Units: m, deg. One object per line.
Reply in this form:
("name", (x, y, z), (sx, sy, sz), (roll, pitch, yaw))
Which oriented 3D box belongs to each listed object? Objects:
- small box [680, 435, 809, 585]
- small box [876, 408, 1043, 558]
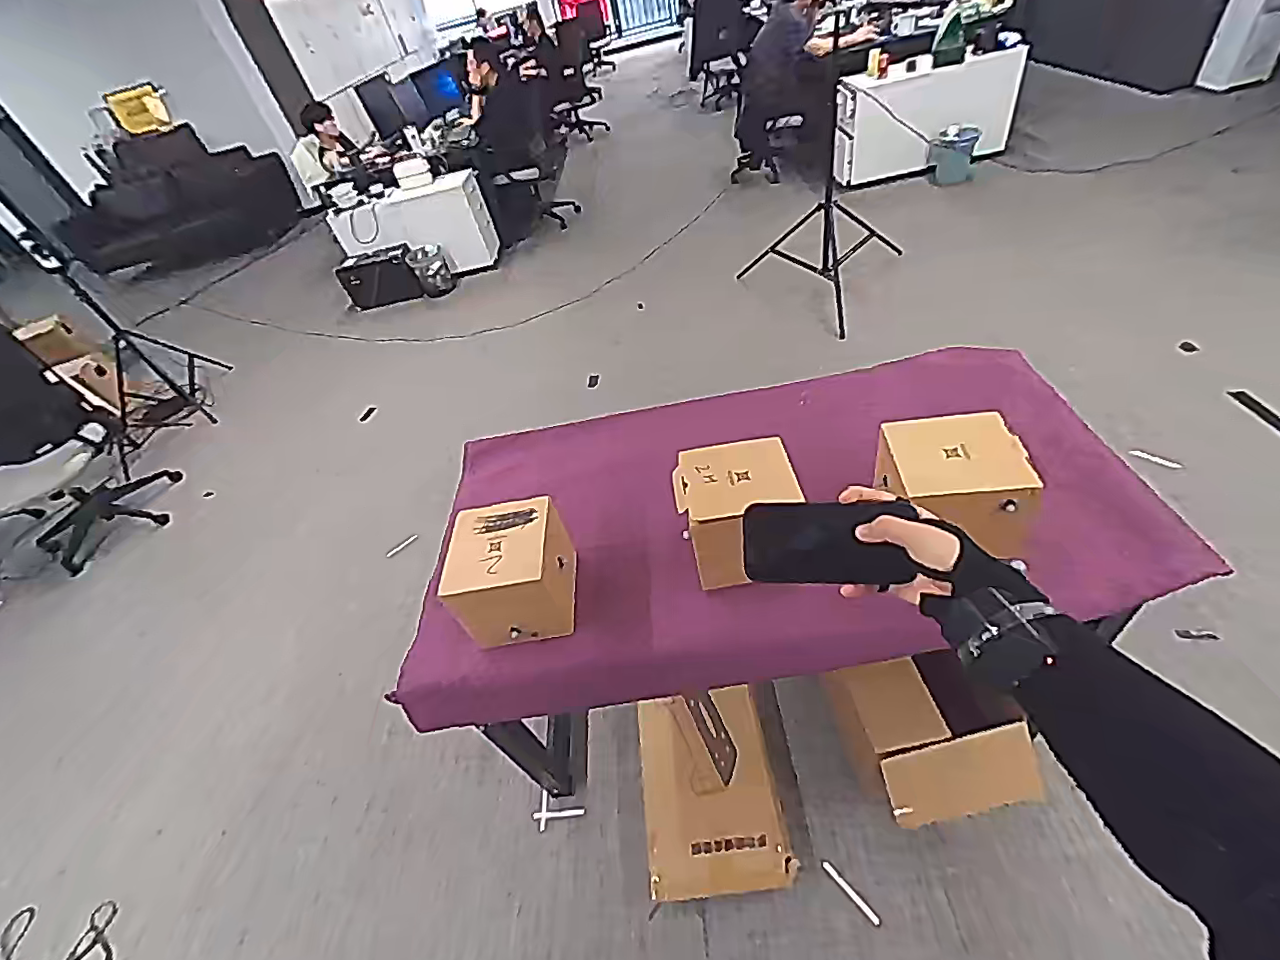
("small box", (0.171, 0.052, 0.901), (0.179, 0.176, 0.168), (-11, 42, 5))
("small box", (0.483, 0.010, 0.854), (0.179, 0.176, 0.168), (-6, 45, 10))
